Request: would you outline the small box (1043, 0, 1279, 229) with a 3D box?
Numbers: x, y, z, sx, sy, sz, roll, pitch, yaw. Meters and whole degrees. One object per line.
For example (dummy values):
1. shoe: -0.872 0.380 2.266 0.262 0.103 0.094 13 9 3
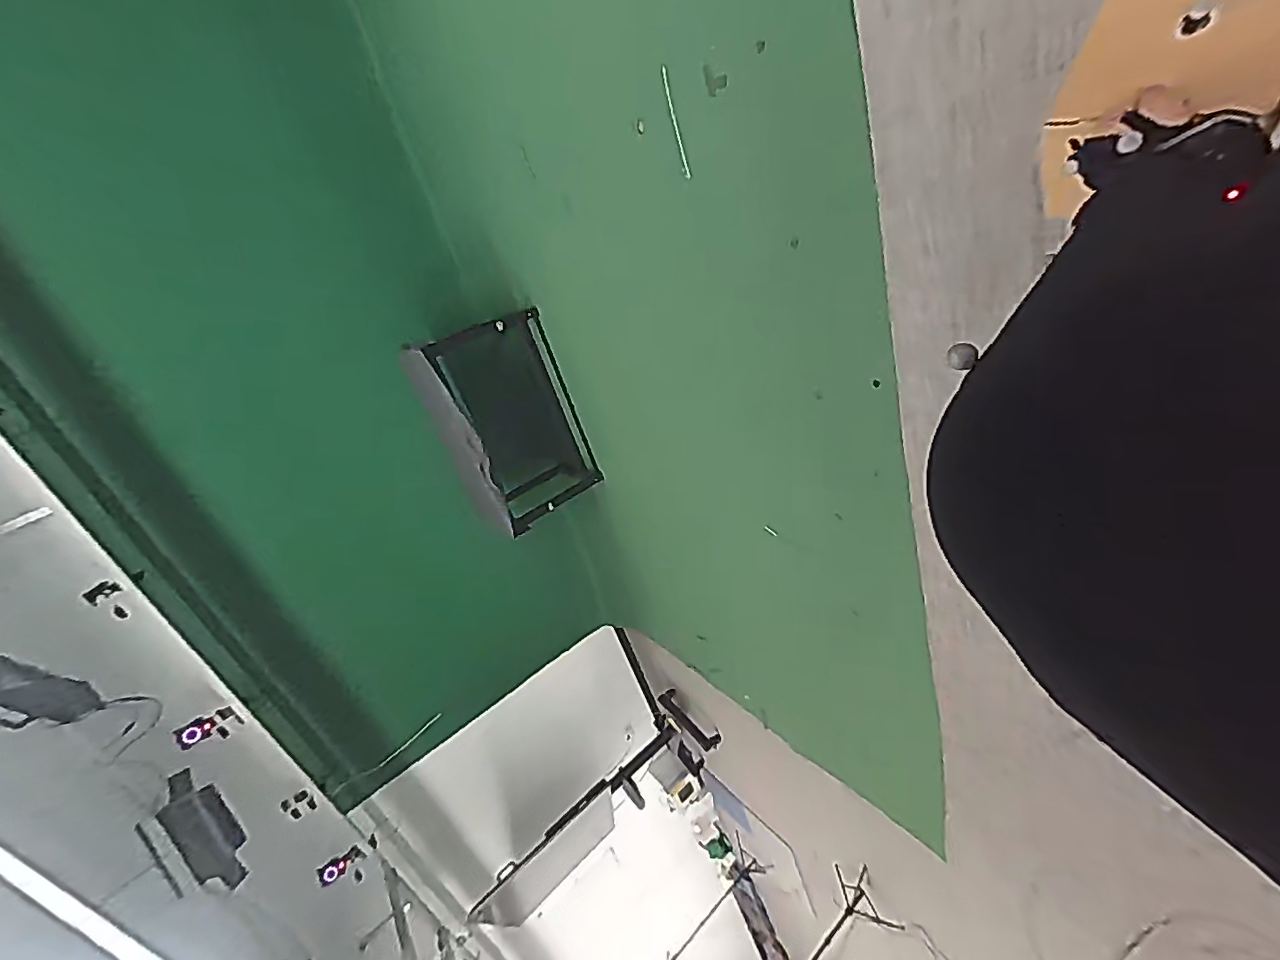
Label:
1. small box: 0.546 -0.388 0.555 0.168 0.179 0.176 27 97 38
